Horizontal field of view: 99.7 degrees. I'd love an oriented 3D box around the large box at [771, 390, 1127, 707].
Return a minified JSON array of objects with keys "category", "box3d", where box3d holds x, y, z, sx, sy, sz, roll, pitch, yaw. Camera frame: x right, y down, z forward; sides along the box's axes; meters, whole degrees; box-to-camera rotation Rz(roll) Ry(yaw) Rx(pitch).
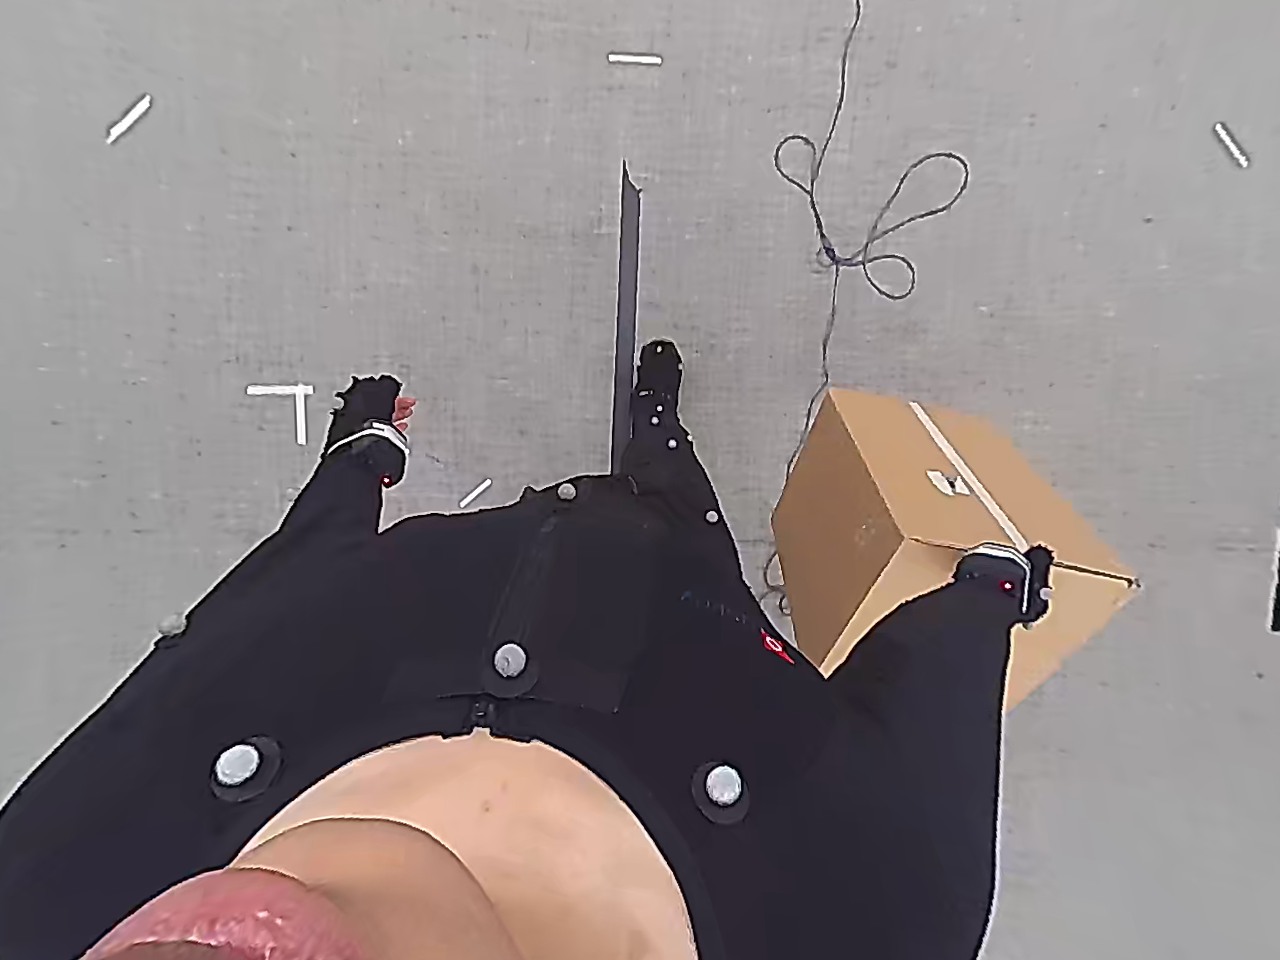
[{"category":"large box","box3d":[0.447,0.101,0.916,0.320,0.408,0.320,11,126,-5]}]
